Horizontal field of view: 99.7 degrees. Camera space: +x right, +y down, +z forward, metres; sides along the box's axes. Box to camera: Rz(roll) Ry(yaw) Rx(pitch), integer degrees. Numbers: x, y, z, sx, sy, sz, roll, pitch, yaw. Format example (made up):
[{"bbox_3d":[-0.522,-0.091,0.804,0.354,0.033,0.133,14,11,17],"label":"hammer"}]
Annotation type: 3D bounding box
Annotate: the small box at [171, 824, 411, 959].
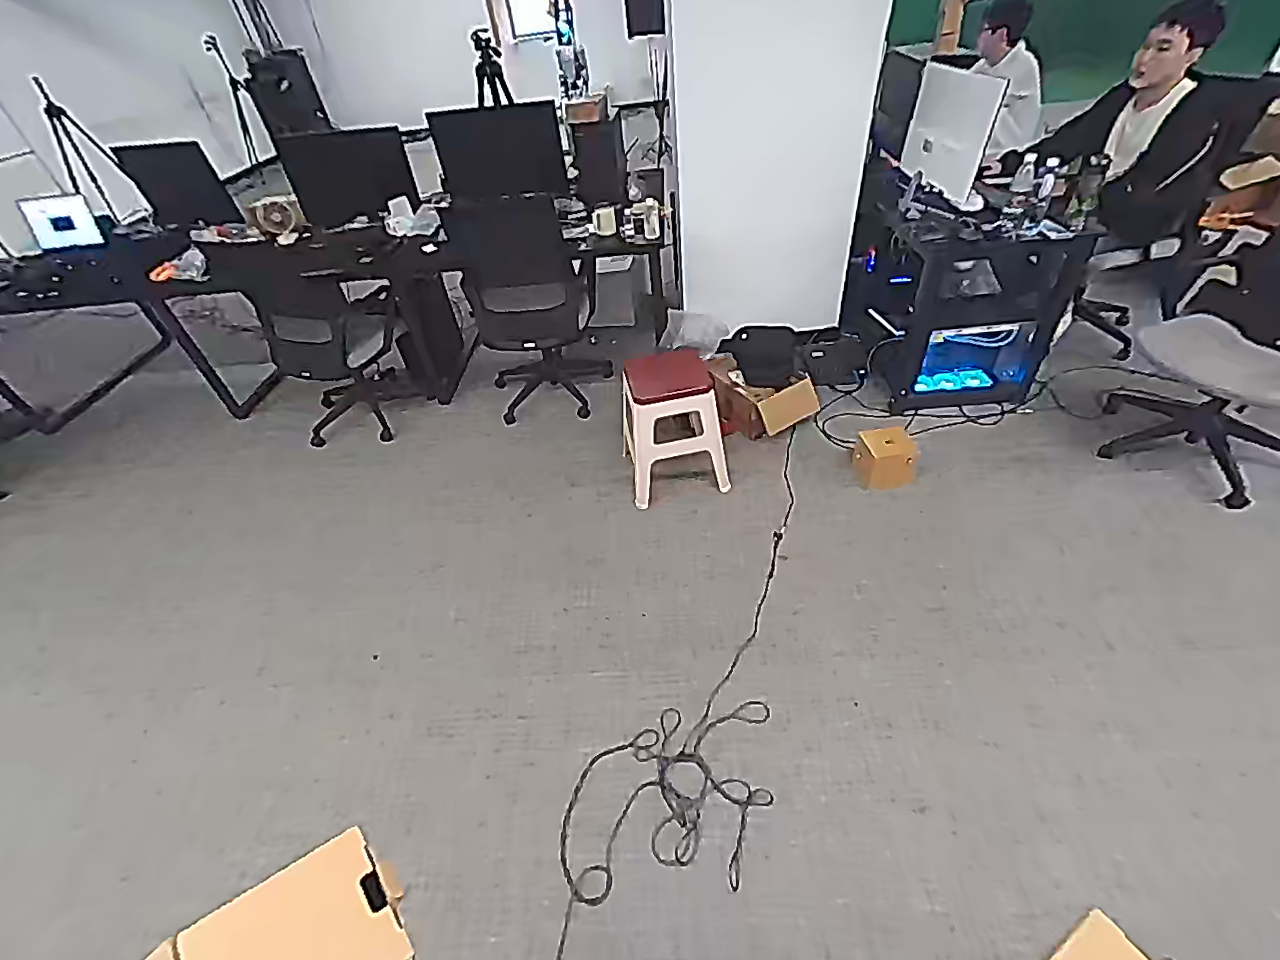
[{"bbox_3d":[-0.357,0.532,0.576,0.179,0.176,0.168,-17,40,-41],"label":"small box"}]
